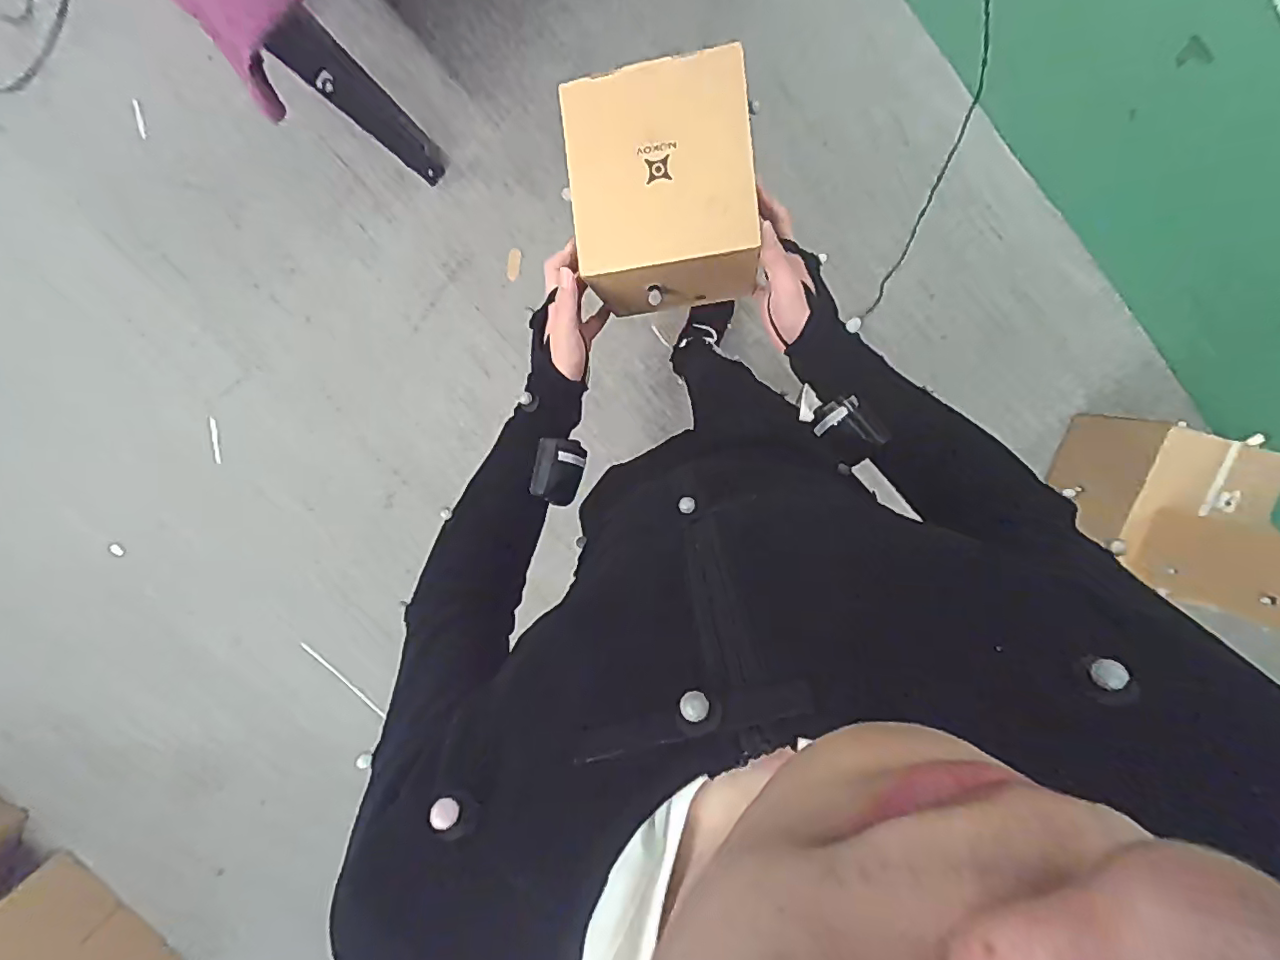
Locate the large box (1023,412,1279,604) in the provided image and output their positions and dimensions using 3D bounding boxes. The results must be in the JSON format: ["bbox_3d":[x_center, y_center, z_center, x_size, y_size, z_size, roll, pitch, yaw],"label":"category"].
[{"bbox_3d":[1.324,0.058,1.436,0.320,0.320,0.408,15,101,-2],"label":"large box"}]

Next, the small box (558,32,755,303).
[{"bbox_3d":[0.028,-0.292,0.554,0.168,0.176,0.179,-6,92,10],"label":"small box"}]

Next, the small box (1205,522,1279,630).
[{"bbox_3d":[1.278,0.203,1.049,0.168,0.176,0.179,19,102,-2],"label":"small box"}]
